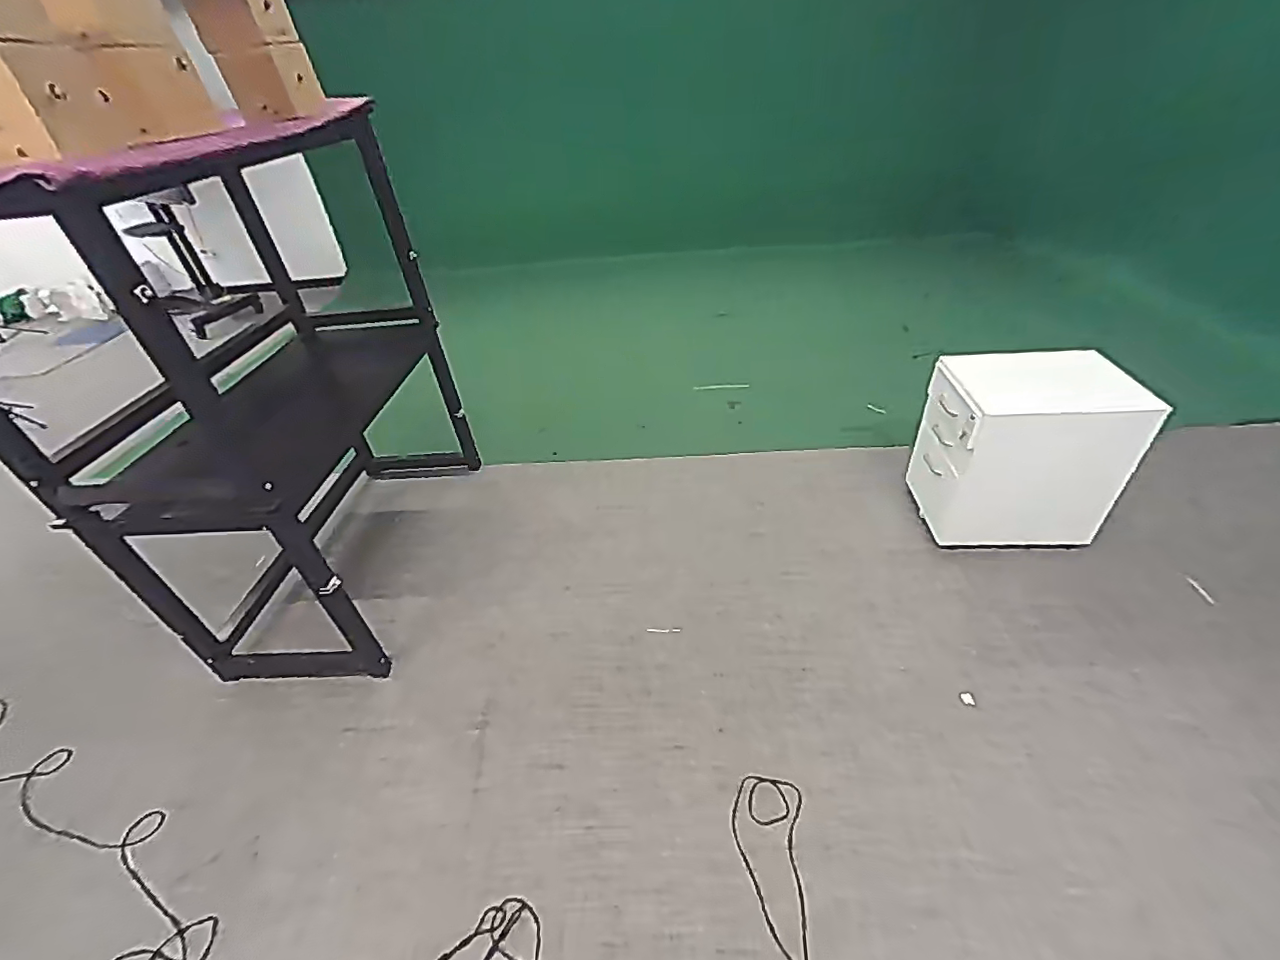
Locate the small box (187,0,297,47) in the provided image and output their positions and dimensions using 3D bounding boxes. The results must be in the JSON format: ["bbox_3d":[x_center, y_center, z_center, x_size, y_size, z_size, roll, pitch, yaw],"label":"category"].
[{"bbox_3d":[-1.044,-1.251,1.405,0.179,0.176,0.168,-3,40,7],"label":"small box"}]

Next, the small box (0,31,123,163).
[{"bbox_3d":[-1.066,-0.655,0.931,0.168,0.176,0.179,-7,39,-3],"label":"small box"}]

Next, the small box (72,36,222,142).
[{"bbox_3d":[-1.083,-0.856,1.189,0.168,0.176,0.179,-3,38,7],"label":"small box"}]

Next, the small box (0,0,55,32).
[{"bbox_3d":[-1.081,-0.782,0.830,0.168,0.176,0.179,-10,39,-5],"label":"small box"}]

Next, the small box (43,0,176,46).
[{"bbox_3d":[-1.106,-0.984,1.089,0.168,0.176,0.179,-3,37,7],"label":"small box"}]
